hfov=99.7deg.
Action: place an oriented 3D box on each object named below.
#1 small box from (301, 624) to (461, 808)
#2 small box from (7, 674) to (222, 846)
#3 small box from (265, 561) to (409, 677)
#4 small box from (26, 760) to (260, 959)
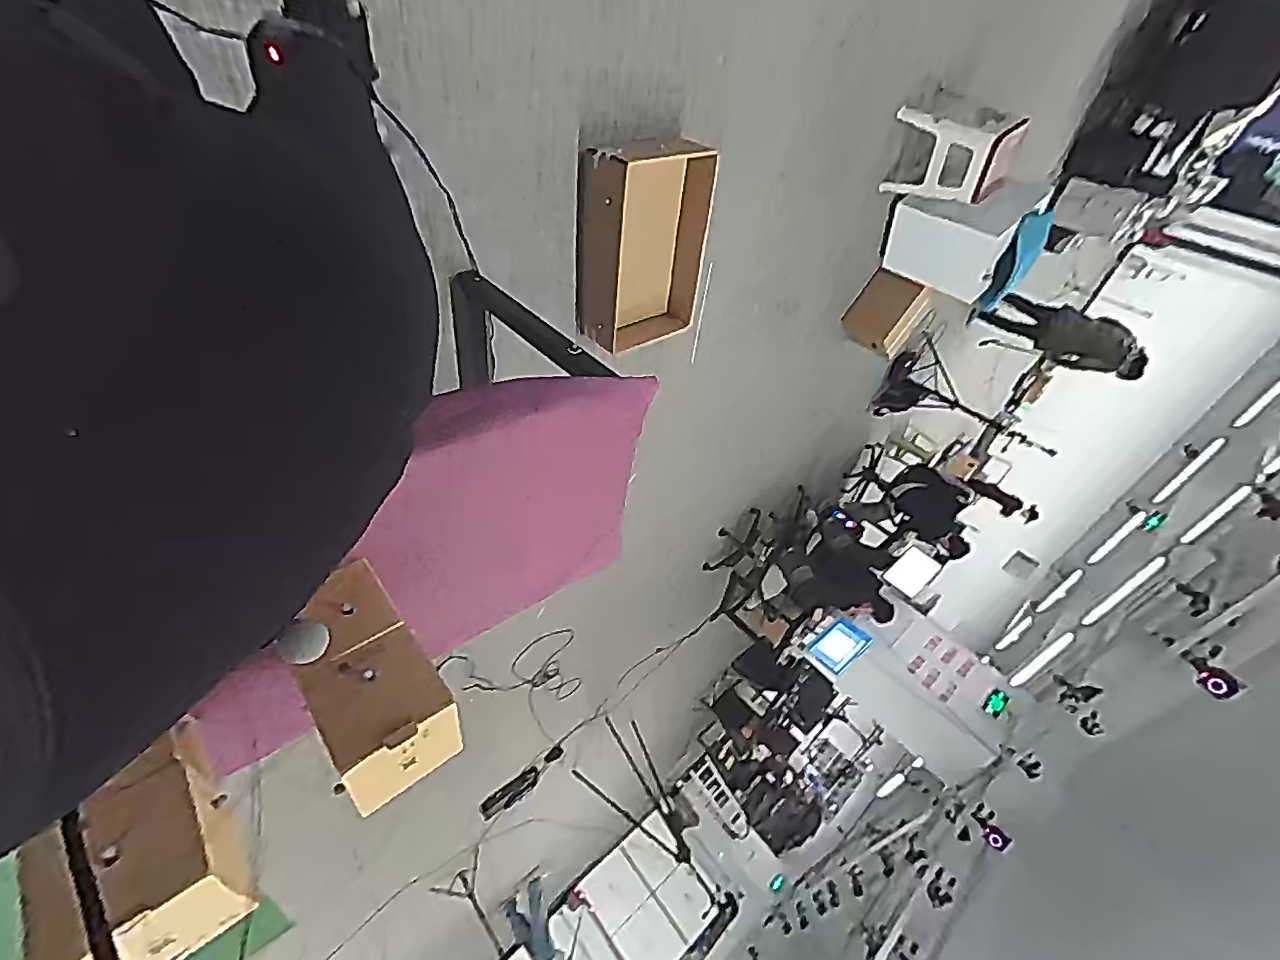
[{"bbox_3d":[-0.401,0.362,0.851,0.168,0.176,0.179,-26,143,-35],"label":"small box"},{"bbox_3d":[-0.747,0.412,0.777,0.168,0.176,0.179,-26,143,-35],"label":"small box"},{"bbox_3d":[-0.507,0.263,0.929,0.168,0.176,0.179,-28,145,-32],"label":"small box"},{"bbox_3d":[-0.634,0.502,0.699,0.168,0.176,0.179,-25,142,-34],"label":"small box"}]
